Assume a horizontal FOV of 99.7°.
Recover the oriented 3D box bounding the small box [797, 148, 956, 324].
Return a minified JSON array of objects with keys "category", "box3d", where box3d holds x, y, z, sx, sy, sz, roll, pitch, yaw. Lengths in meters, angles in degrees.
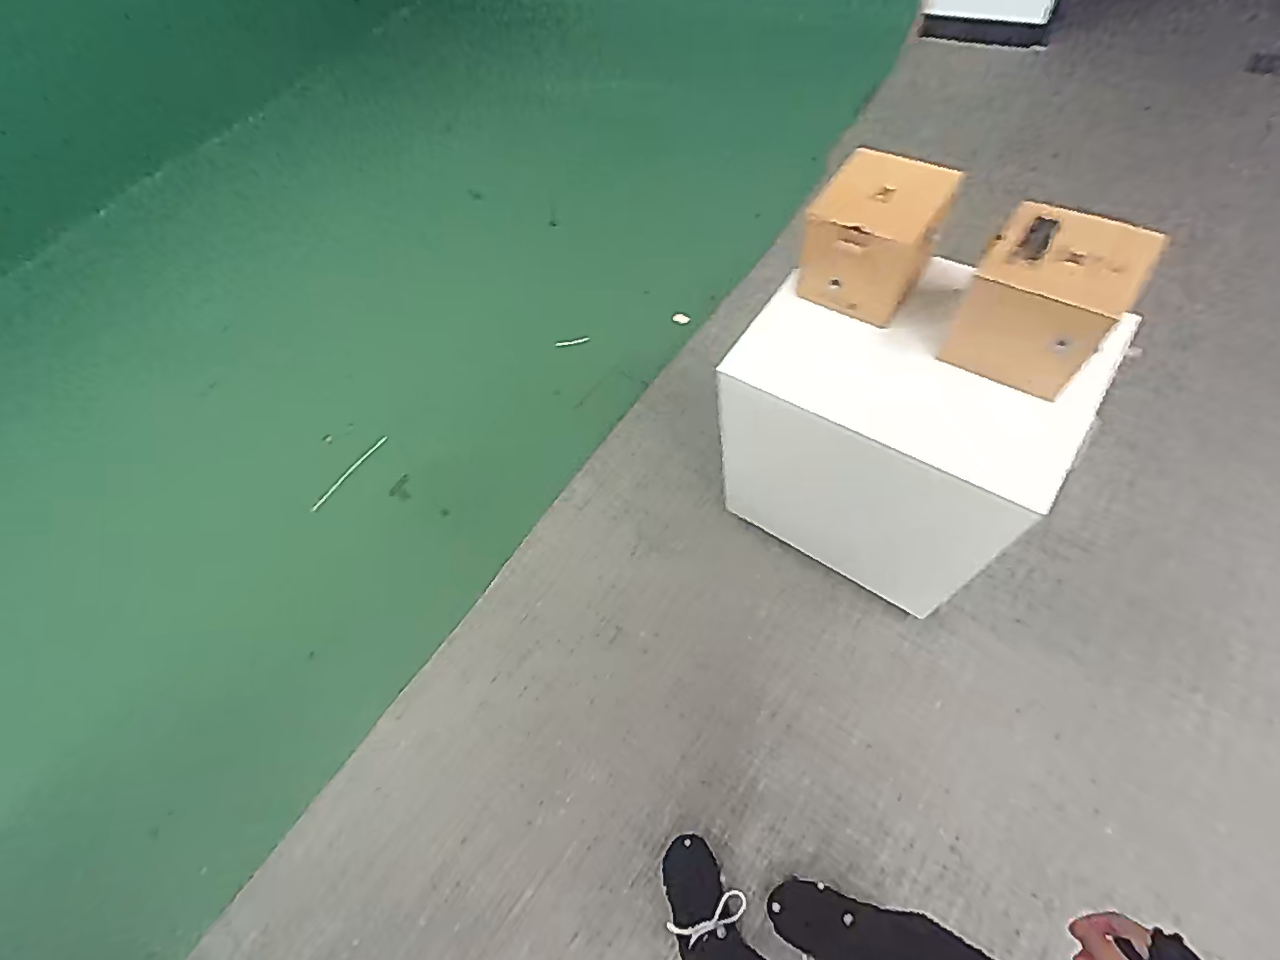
[{"category":"small box","box3d":[0.370,-0.393,0.881,0.168,0.176,0.179,31,72,23]}]
